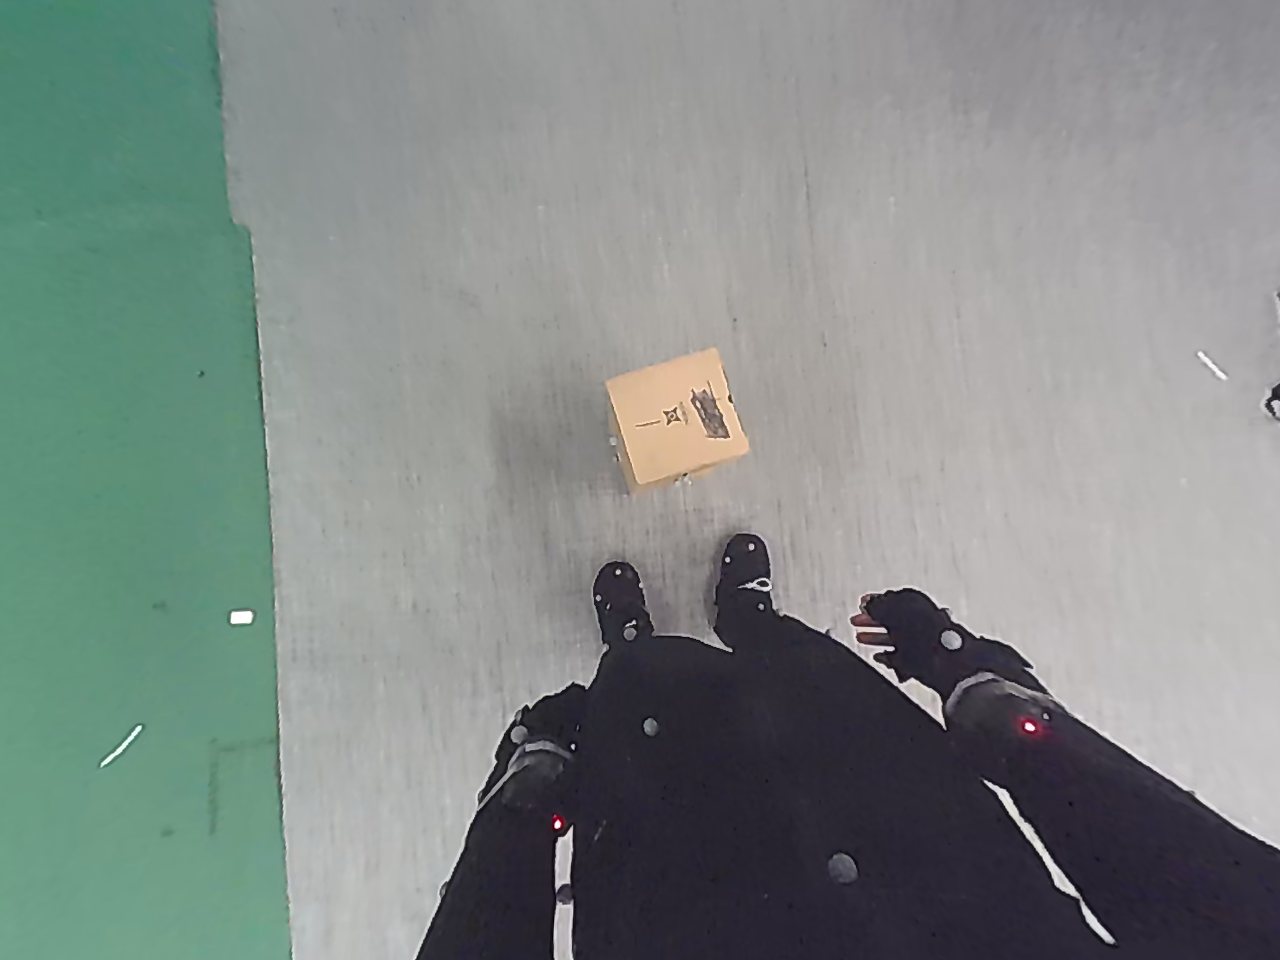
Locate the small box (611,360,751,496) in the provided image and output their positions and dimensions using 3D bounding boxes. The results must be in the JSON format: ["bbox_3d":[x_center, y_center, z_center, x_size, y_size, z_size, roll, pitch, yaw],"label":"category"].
[{"bbox_3d":[0.058,-0.075,0.876,0.179,0.176,0.168,-17,86,-1],"label":"small box"}]
